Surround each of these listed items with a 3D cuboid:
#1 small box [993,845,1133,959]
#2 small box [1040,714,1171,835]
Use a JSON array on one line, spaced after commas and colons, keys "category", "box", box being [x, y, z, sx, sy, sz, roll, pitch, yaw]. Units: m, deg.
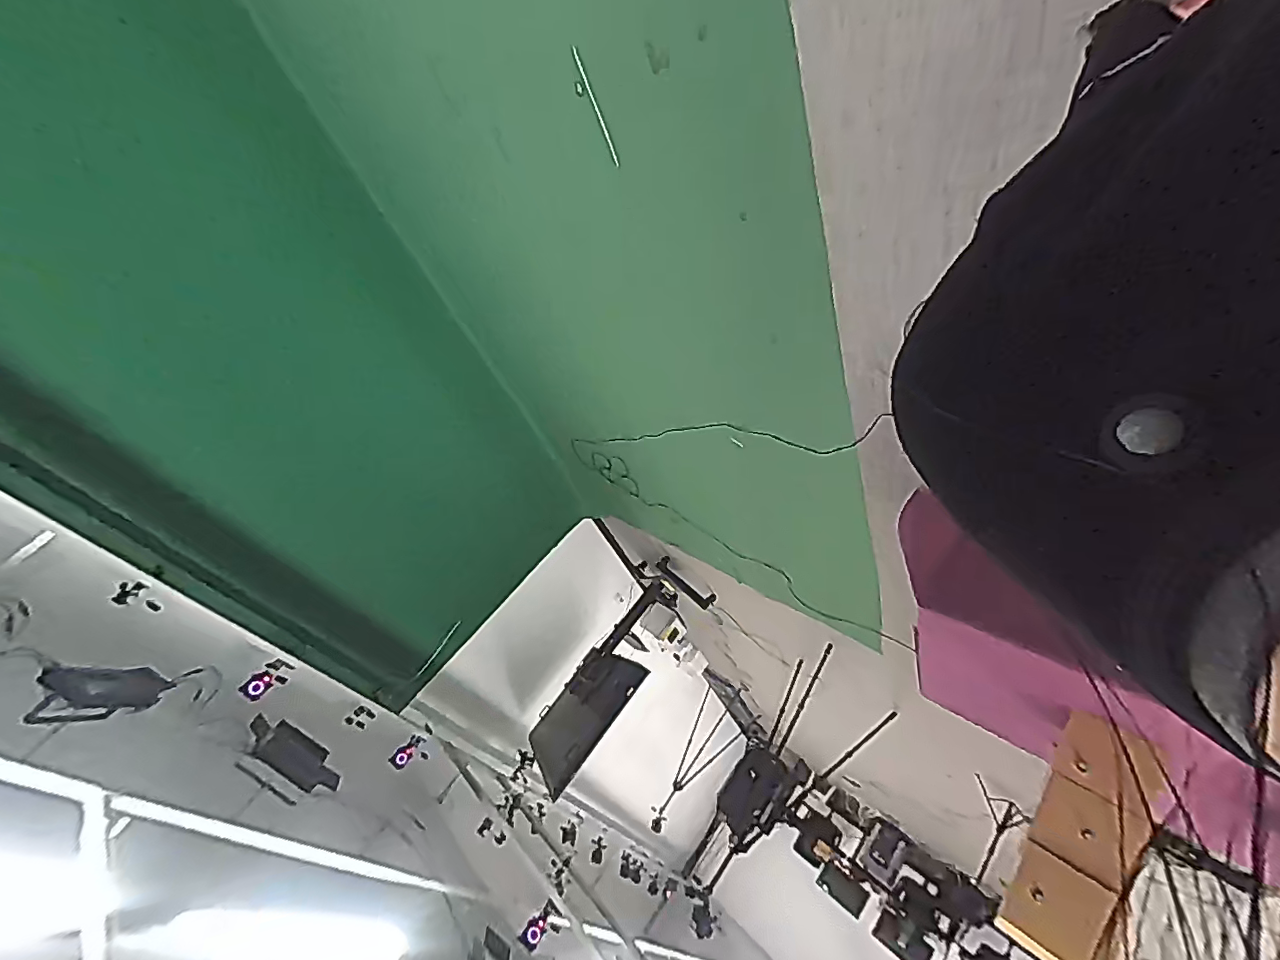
[{"category": "small box", "box": [0.871, 0.896, 1.124, 0.179, 0.176, 0.168, 23, 153, 41]}, {"category": "small box", "box": [1.072, 0.671, 1.254, 0.179, 0.176, 0.168, 24, 154, 41]}]
